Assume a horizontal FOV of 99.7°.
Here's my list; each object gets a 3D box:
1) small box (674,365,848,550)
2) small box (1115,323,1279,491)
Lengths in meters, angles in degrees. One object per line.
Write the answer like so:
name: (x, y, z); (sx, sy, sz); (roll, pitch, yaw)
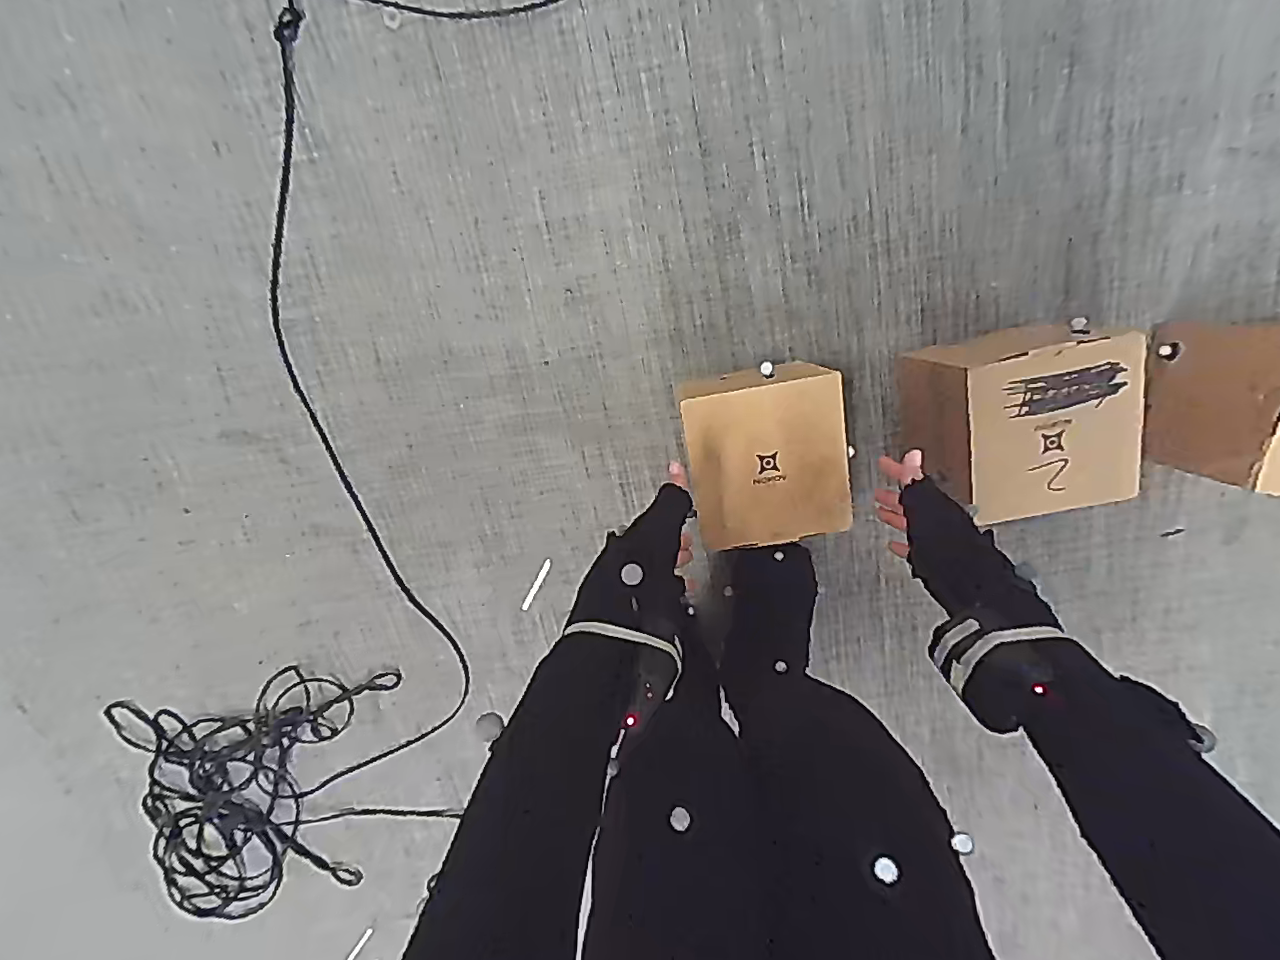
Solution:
small box: (0.135, -0.038, 0.651); (0.168, 0.176, 0.179); (-10, 106, 5)
small box: (0.703, -0.086, 0.610); (0.179, 0.176, 0.168); (3, 107, 0)
